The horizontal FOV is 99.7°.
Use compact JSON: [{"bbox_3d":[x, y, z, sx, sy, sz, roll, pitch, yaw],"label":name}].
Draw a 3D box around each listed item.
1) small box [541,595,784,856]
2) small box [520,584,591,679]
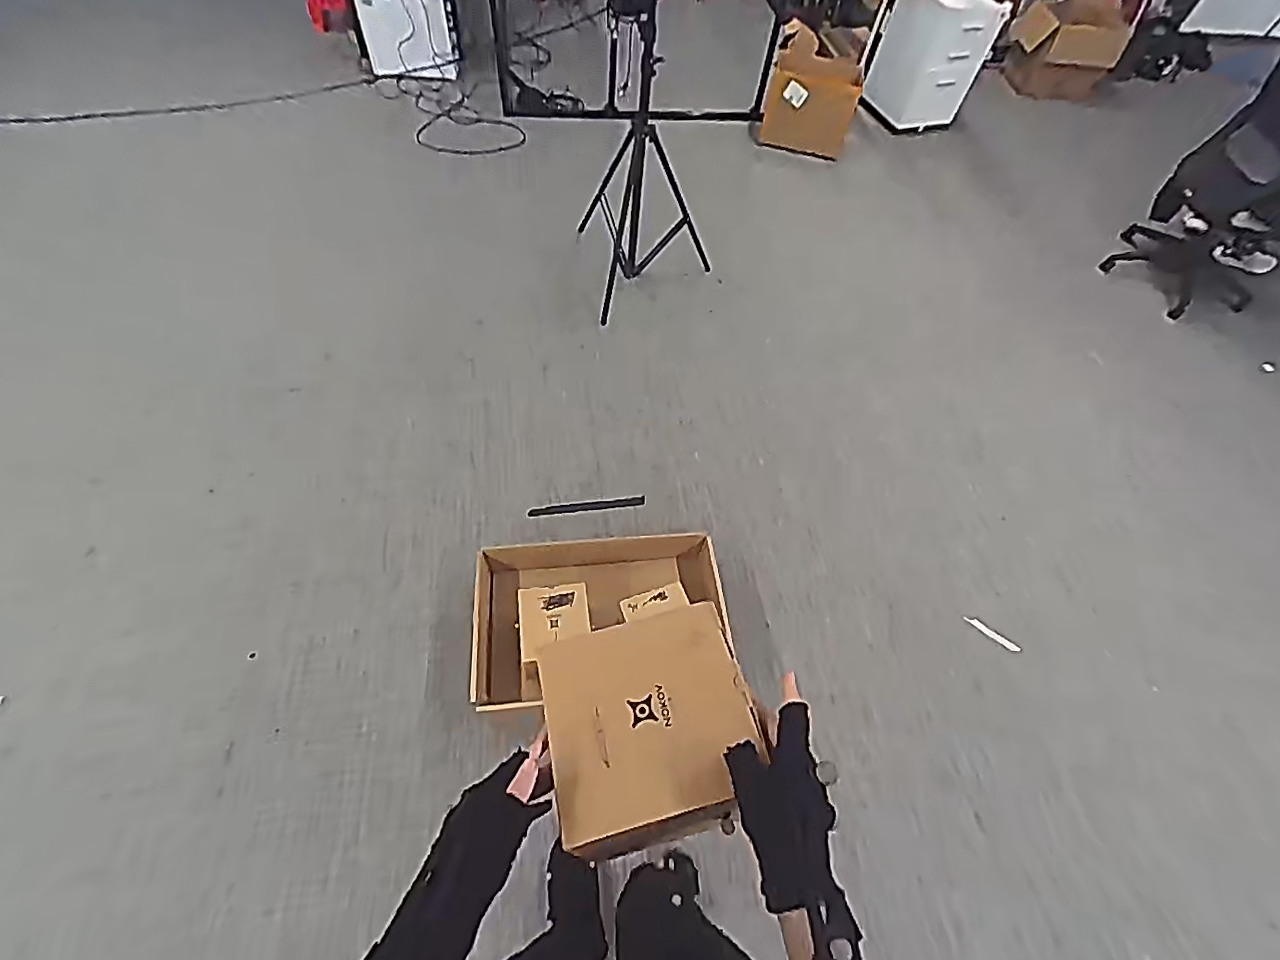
[{"bbox_3d":[0.017,0.240,0.522,0.179,0.176,0.168,-15,51,-5],"label":"small box"},{"bbox_3d":[-0.209,0.377,1.342,0.168,0.176,0.179,-5,58,-10],"label":"small box"}]
